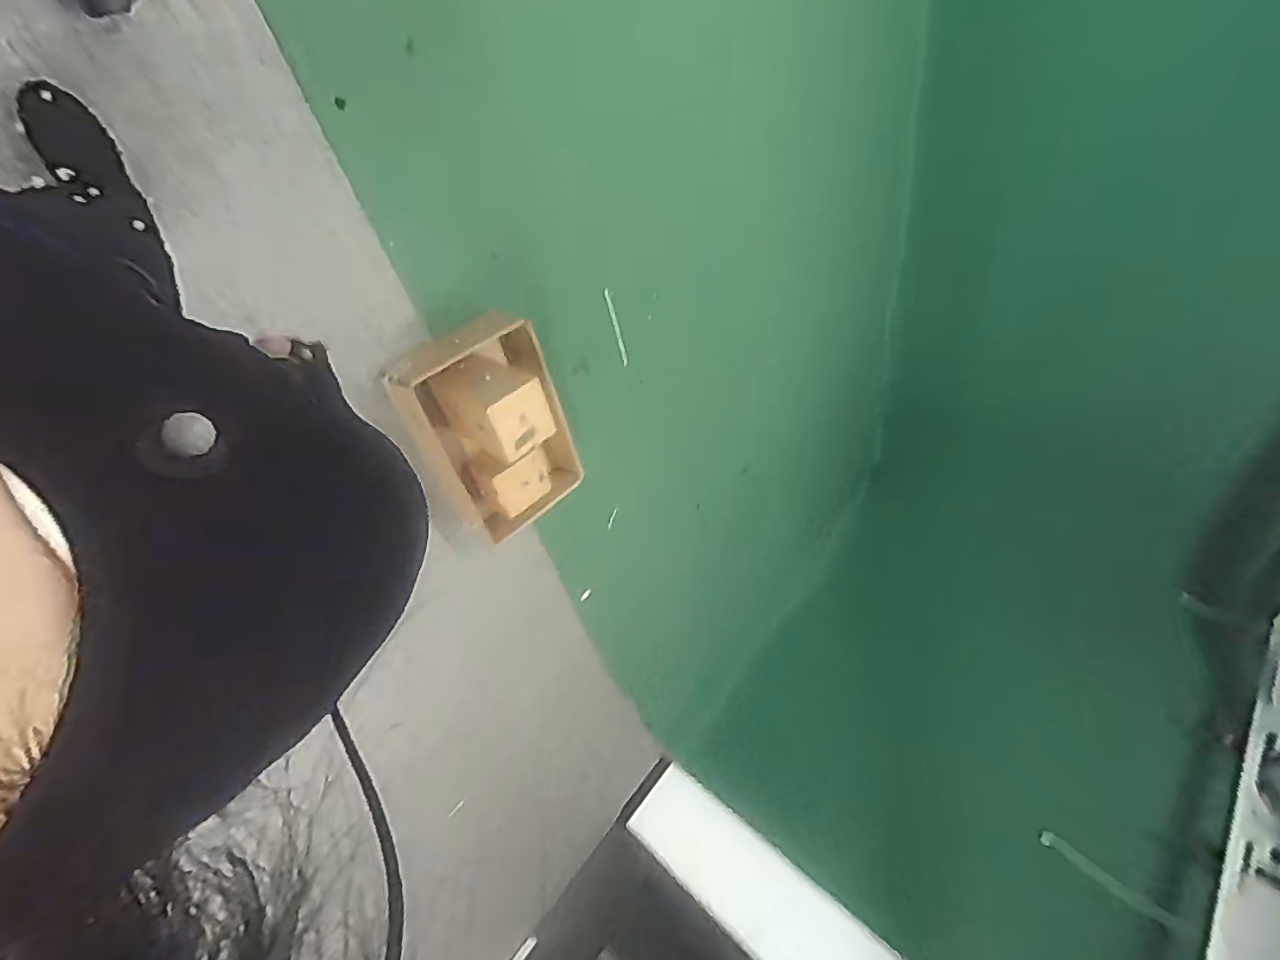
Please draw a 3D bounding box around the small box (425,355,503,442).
[{"bbox_3d":[-0.476,-0.240,1.534,0.168,0.176,0.179,-40,138,-27],"label":"small box"}]

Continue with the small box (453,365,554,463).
[{"bbox_3d":[-0.361,-0.180,1.433,0.168,0.176,0.179,-40,136,-28],"label":"small box"}]
